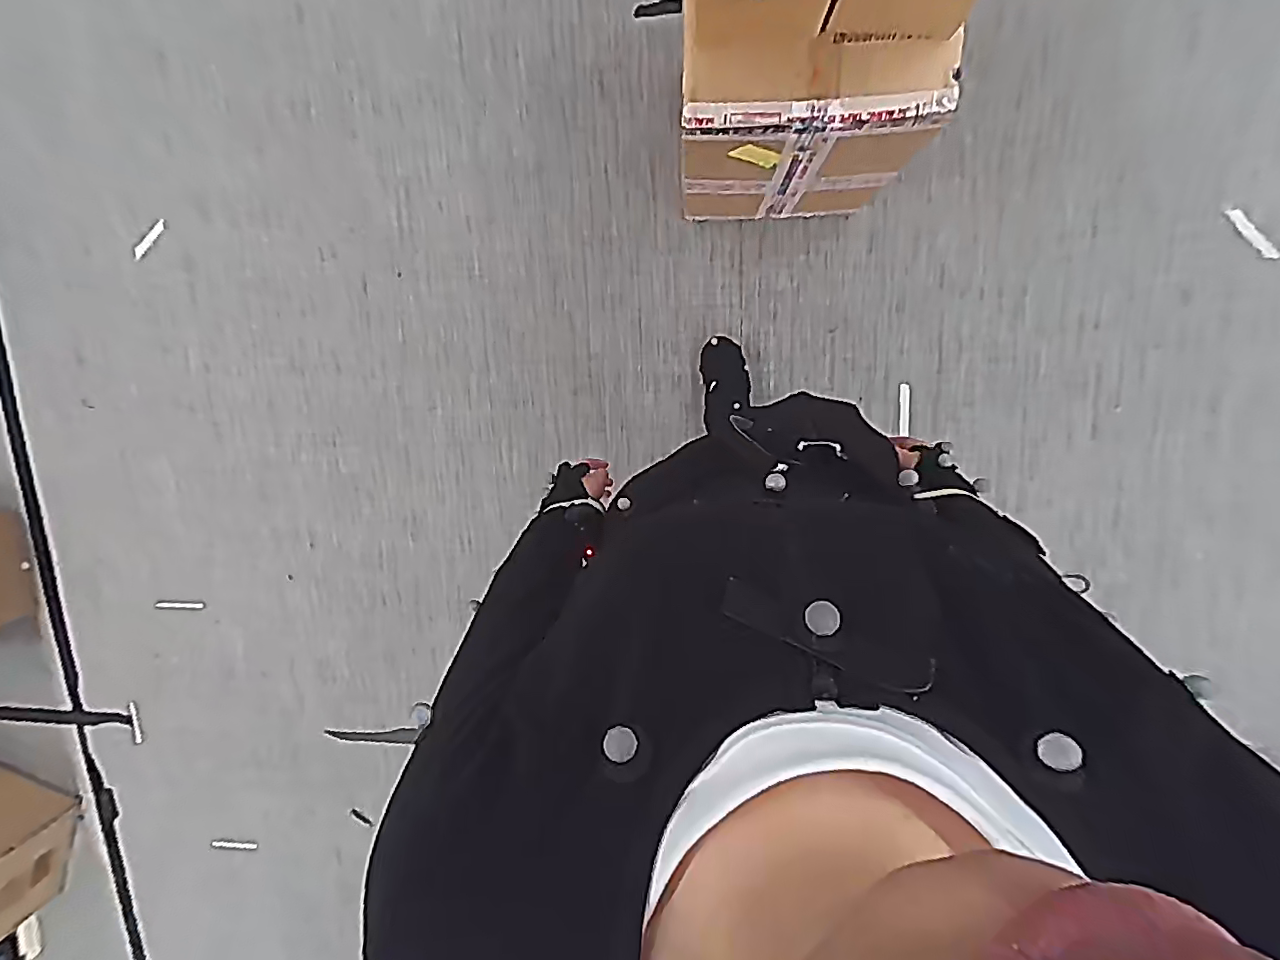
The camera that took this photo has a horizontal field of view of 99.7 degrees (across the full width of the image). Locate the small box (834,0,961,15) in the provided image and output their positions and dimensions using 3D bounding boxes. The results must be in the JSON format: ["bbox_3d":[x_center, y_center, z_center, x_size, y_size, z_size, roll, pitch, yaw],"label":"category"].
[{"bbox_3d":[0.347,-0.703,0.648,0.179,0.176,0.168,5,102,3],"label":"small box"}]
